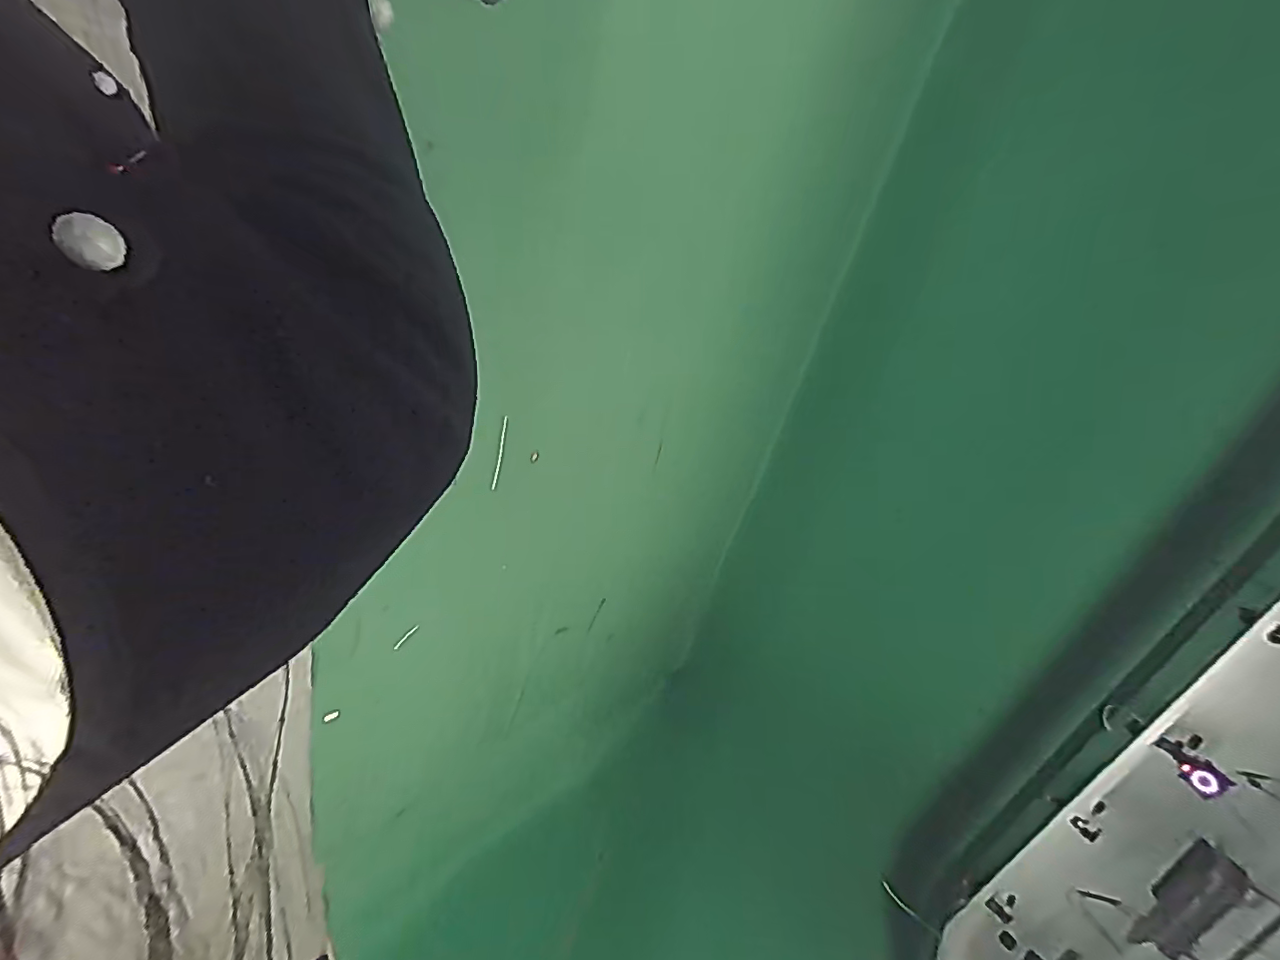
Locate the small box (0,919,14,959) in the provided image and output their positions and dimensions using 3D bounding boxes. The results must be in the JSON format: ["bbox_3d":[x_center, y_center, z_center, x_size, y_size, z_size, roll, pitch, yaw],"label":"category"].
[{"bbox_3d":[-1.788,1.328,1.423,0.179,0.176,0.168,-14,131,-51],"label":"small box"}]
